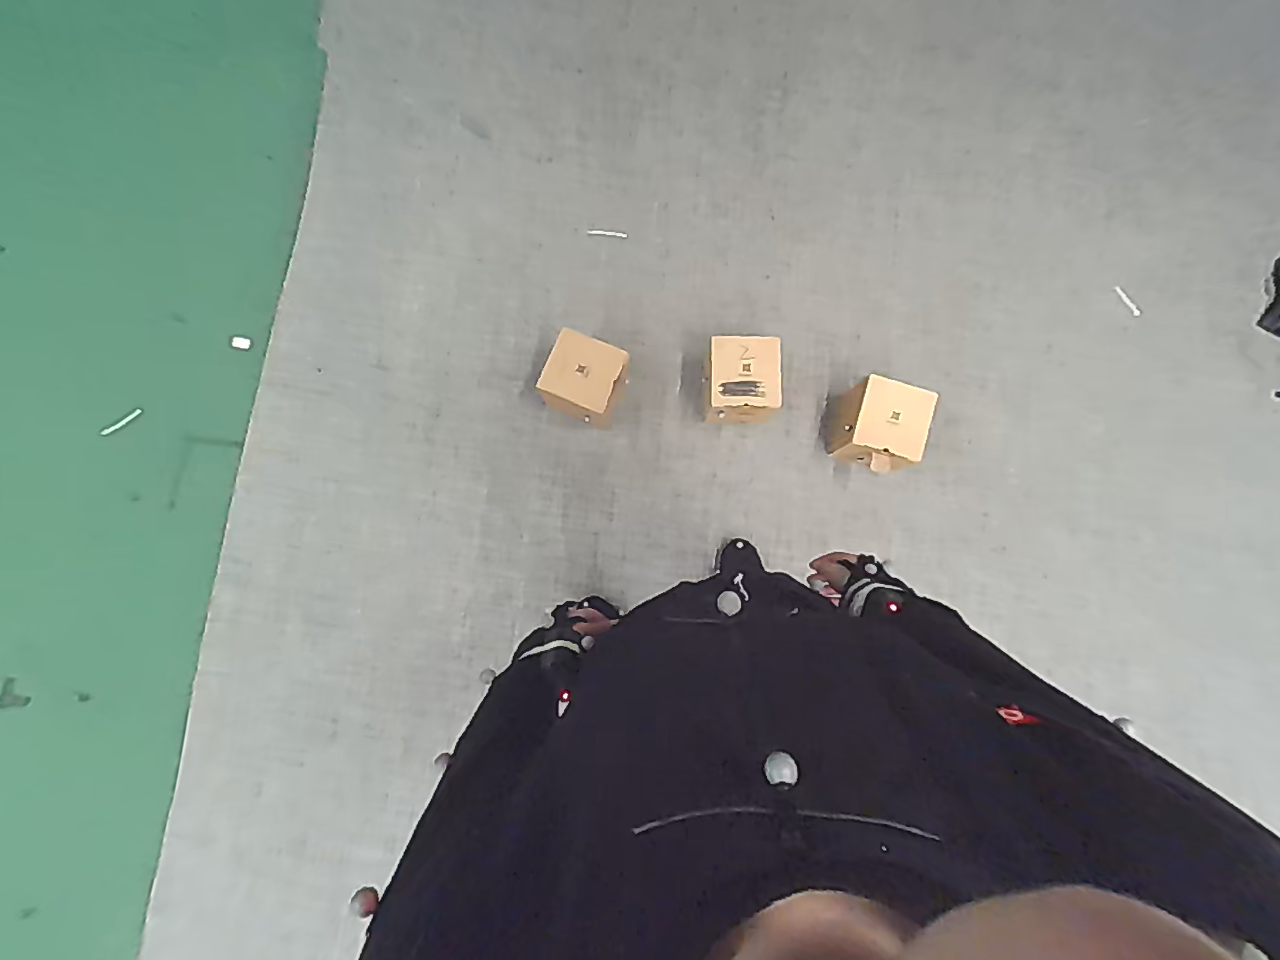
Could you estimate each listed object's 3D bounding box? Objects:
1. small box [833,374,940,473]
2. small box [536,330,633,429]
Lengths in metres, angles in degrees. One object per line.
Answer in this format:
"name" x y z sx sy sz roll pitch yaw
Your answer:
"small box" 0.591 -0.130 1.318 0.168 0.176 0.179 17 83 2
"small box" -0.127 -0.239 1.335 0.179 0.176 0.168 21 83 8
